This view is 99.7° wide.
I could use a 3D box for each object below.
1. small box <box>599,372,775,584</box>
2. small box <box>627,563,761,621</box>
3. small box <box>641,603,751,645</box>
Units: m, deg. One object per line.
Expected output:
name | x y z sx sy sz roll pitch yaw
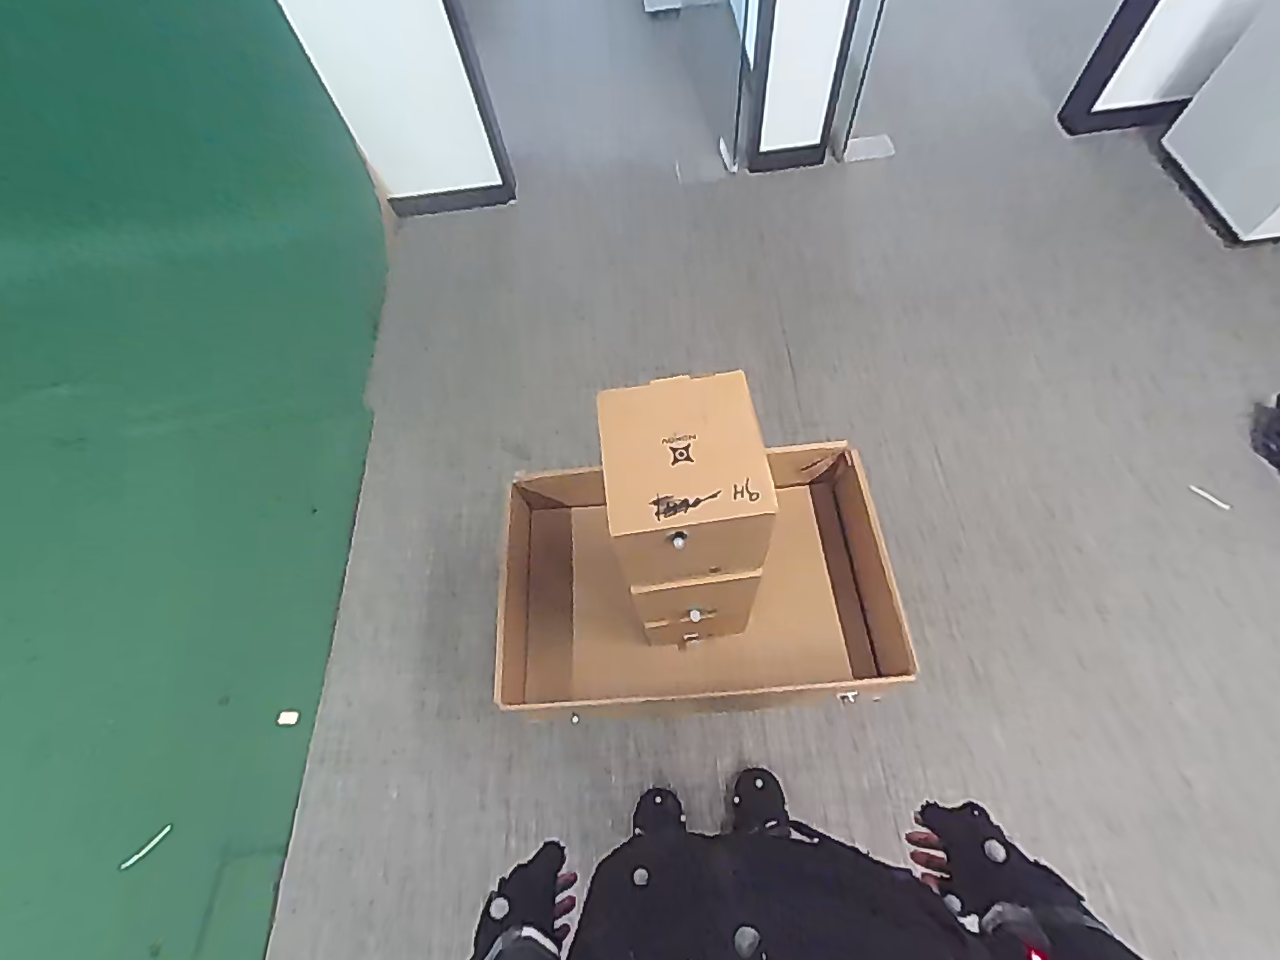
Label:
small box | 0.050 0.004 0.629 0.168 0.176 0.179 -9 61 3
small box | 0.067 0.088 0.770 0.168 0.176 0.179 -8 63 3
small box | 0.082 0.165 0.913 0.168 0.176 0.179 -10 63 2
